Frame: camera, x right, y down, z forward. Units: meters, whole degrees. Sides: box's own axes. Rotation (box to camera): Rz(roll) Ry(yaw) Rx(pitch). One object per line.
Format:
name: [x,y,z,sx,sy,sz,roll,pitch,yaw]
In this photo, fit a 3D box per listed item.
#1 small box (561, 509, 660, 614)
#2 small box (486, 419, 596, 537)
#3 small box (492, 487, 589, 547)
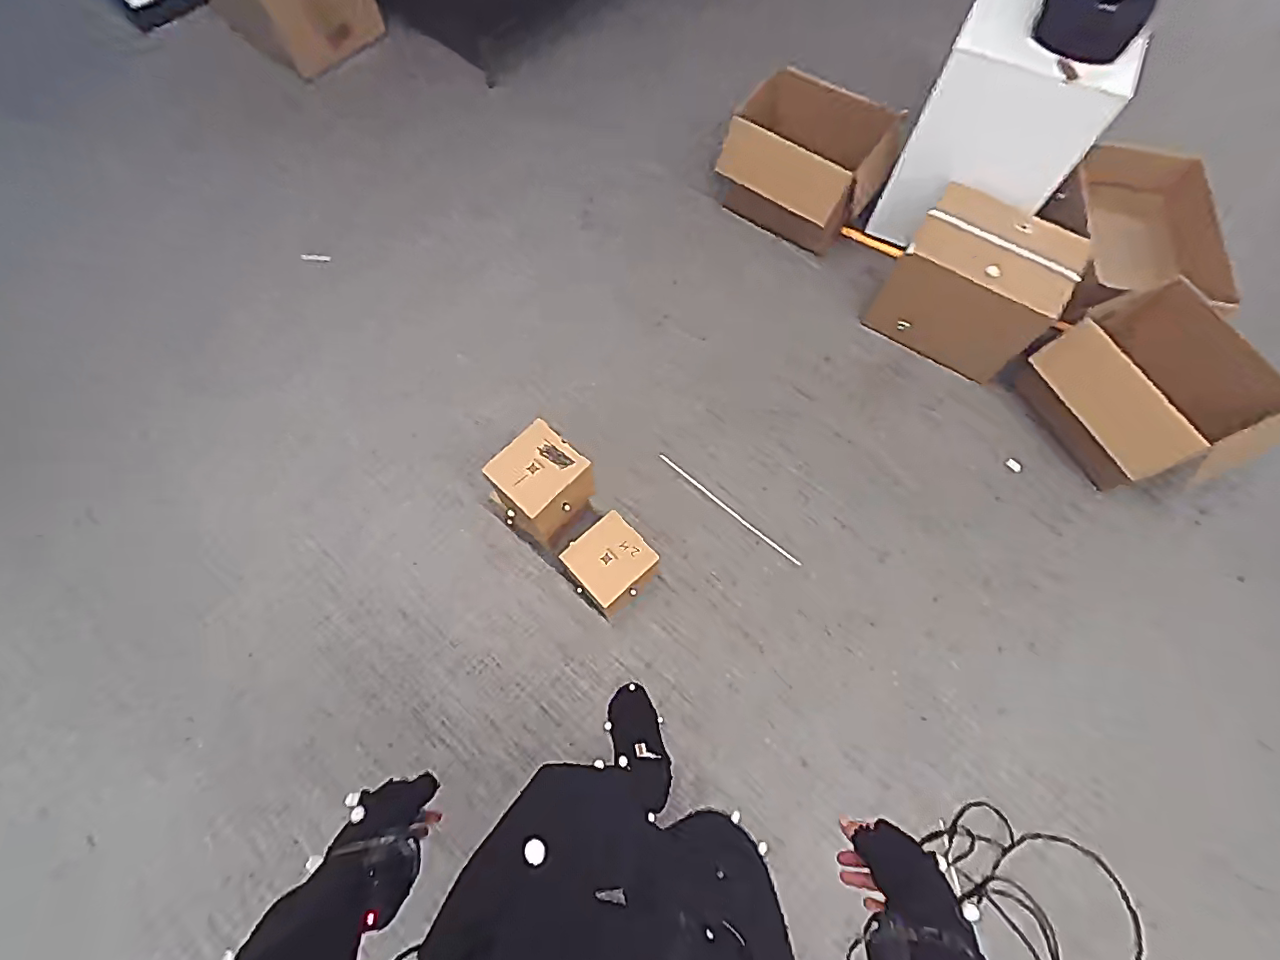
small box: [-0.066,0.206,1.319,0.179,0.176,0.168,-40,74,-15]
small box: [-0.215,0.001,1.226,0.168,0.176,0.179,41,74,15]
small box: [-0.244,0.048,1.385,0.168,0.176,0.179,35,72,13]
